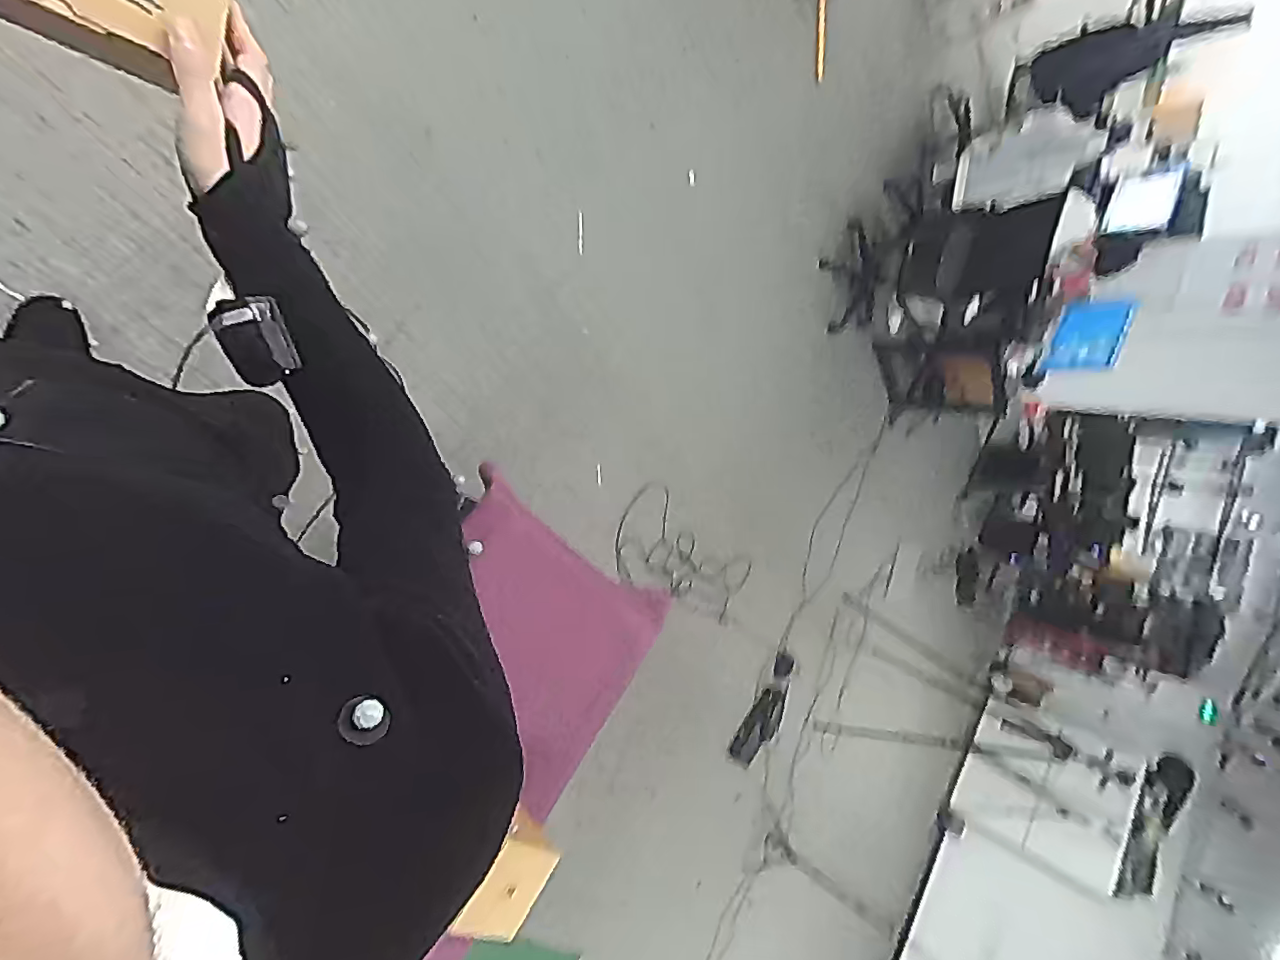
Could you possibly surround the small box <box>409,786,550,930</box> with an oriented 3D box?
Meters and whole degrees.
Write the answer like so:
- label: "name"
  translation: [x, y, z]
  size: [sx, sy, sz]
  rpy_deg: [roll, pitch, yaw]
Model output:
- label: "small box"
  translation: [-0.323, 0.755, 1.090]
  size: [0.168, 0.176, 0.179]
  rpy_deg: [-55, 132, -18]
